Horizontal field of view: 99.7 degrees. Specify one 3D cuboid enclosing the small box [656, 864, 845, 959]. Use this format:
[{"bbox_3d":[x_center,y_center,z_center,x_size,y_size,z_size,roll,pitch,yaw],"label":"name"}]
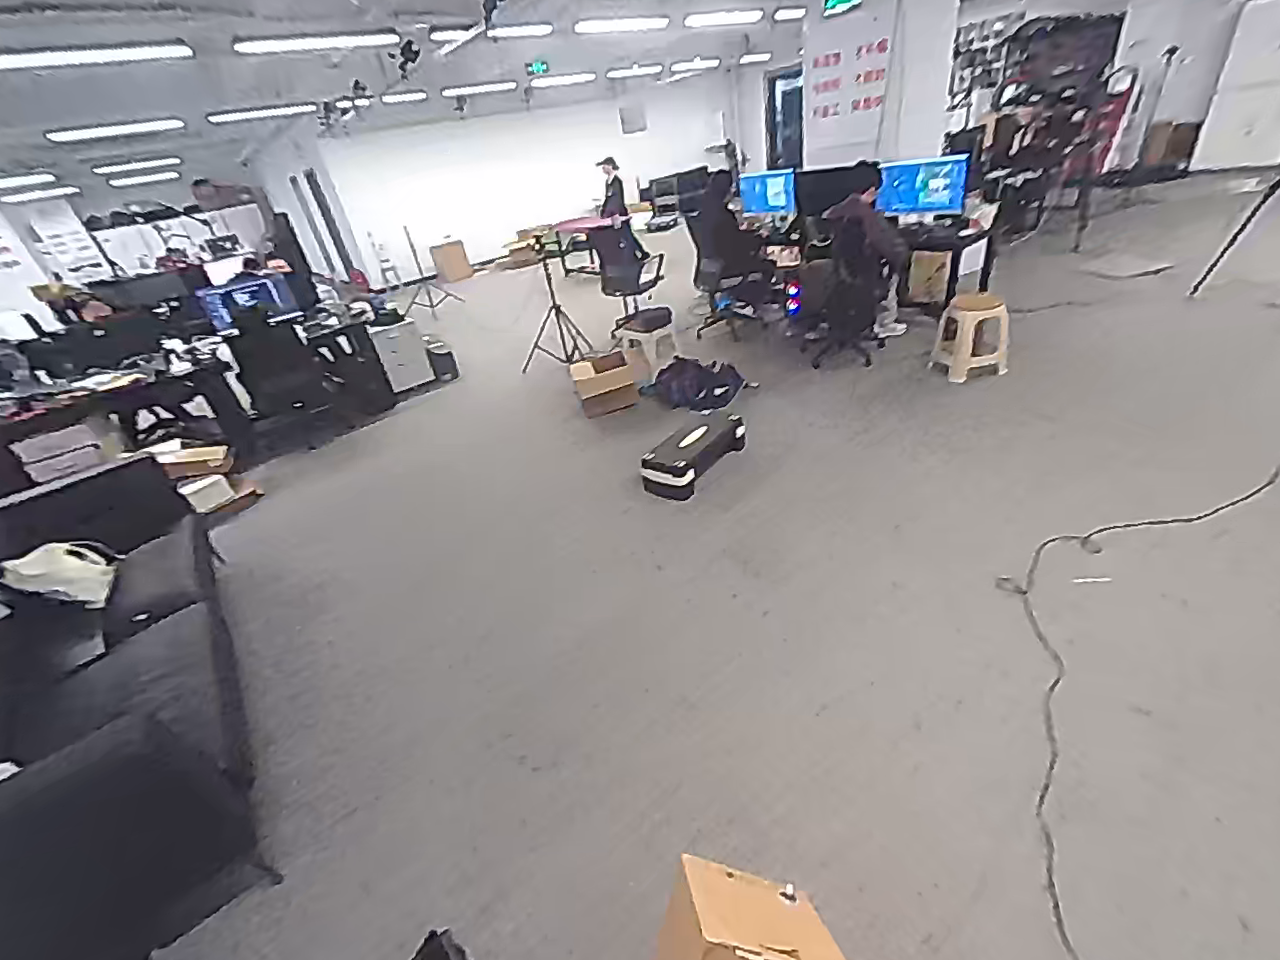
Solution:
[{"bbox_3d":[0.109,0.550,0.566,0.168,0.176,0.179,19,78,0],"label":"small box"}]
